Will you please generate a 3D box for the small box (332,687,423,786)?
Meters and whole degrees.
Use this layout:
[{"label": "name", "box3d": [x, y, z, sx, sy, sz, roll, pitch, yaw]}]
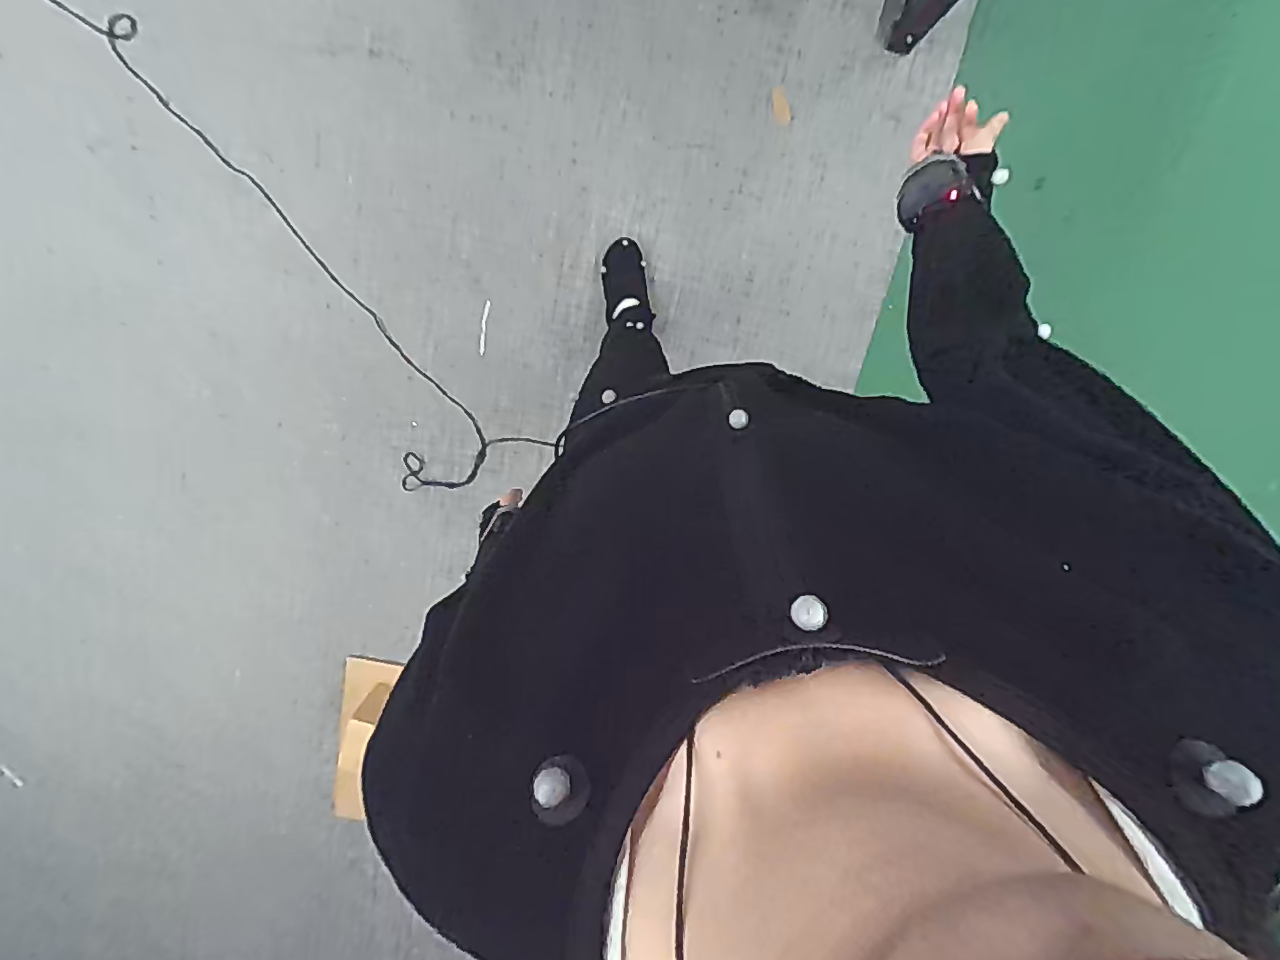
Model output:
[{"label": "small box", "box3d": [-0.755, 0.739, 1.573, 0.168, 0.176, 0.179, 19, 104, -4]}]
